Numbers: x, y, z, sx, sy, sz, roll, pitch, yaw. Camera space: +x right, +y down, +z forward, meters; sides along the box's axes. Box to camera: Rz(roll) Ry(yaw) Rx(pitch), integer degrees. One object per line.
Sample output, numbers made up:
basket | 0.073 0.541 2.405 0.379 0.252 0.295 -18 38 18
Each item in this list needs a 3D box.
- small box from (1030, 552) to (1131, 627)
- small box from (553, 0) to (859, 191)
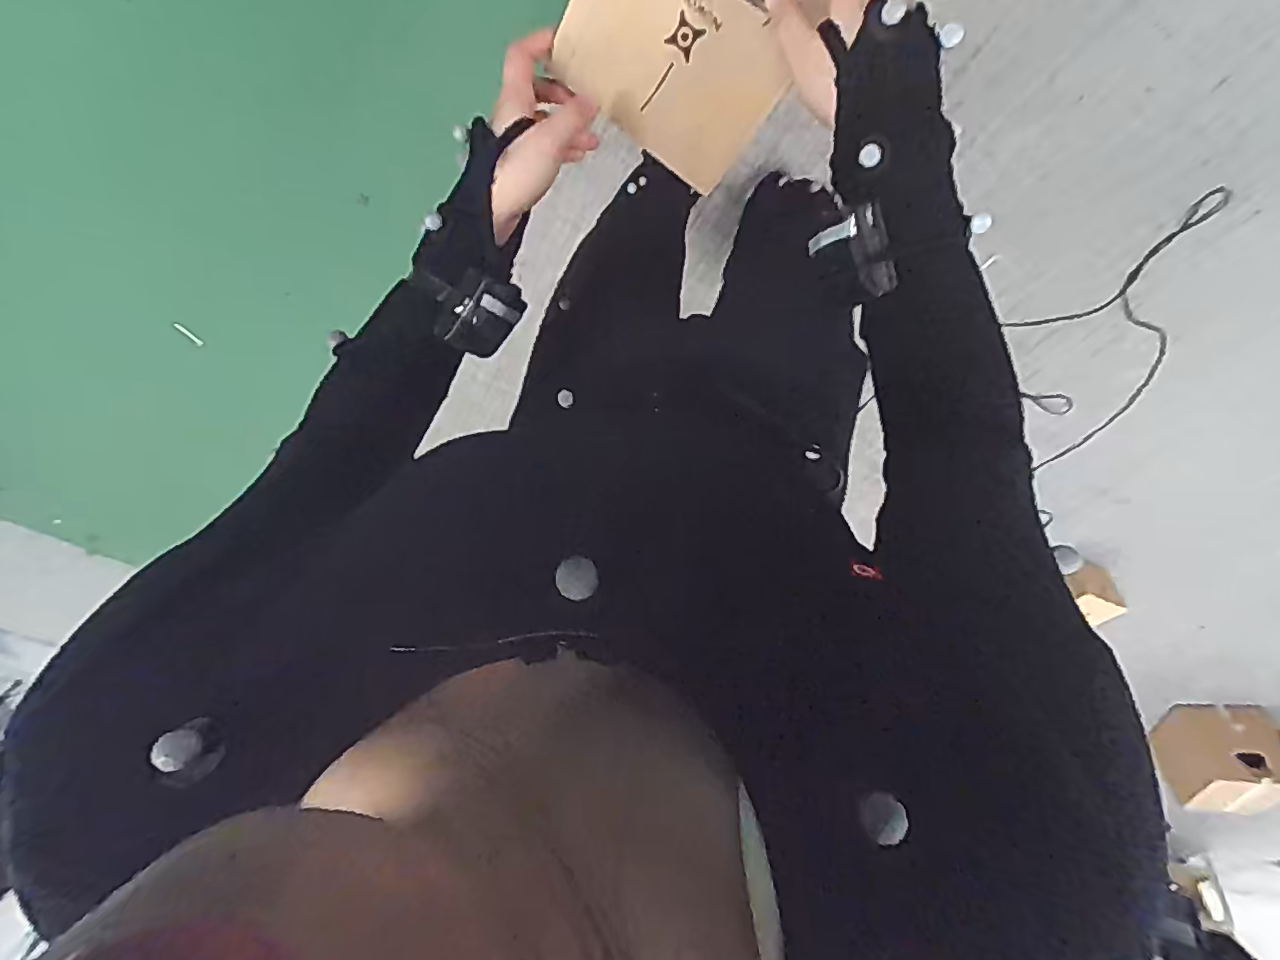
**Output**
small box | 1.479 0.368 1.826 0.179 0.176 0.168 20 135 -10
small box | 0.053 -0.387 0.437 0.168 0.176 0.179 28 134 -20
